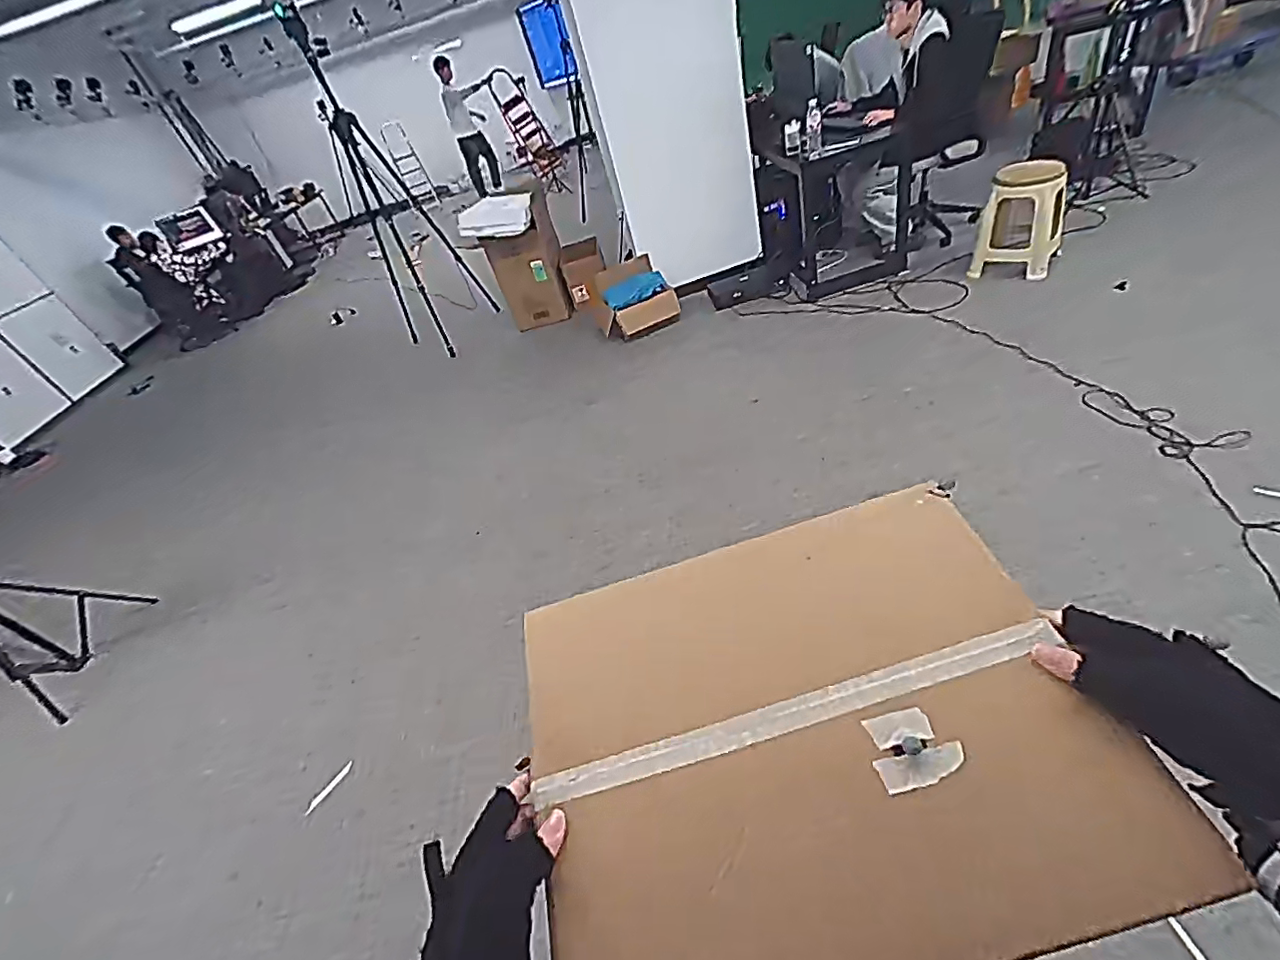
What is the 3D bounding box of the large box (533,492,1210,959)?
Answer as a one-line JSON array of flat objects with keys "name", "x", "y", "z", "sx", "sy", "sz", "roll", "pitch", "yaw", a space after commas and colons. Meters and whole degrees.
[{"name": "large box", "x": 0.150, "y": 0.276, "z": 0.530, "sx": 0.408, "sy": 0.320, "sz": 0.320, "roll": -19, "pitch": 49, "yaw": 1}]
